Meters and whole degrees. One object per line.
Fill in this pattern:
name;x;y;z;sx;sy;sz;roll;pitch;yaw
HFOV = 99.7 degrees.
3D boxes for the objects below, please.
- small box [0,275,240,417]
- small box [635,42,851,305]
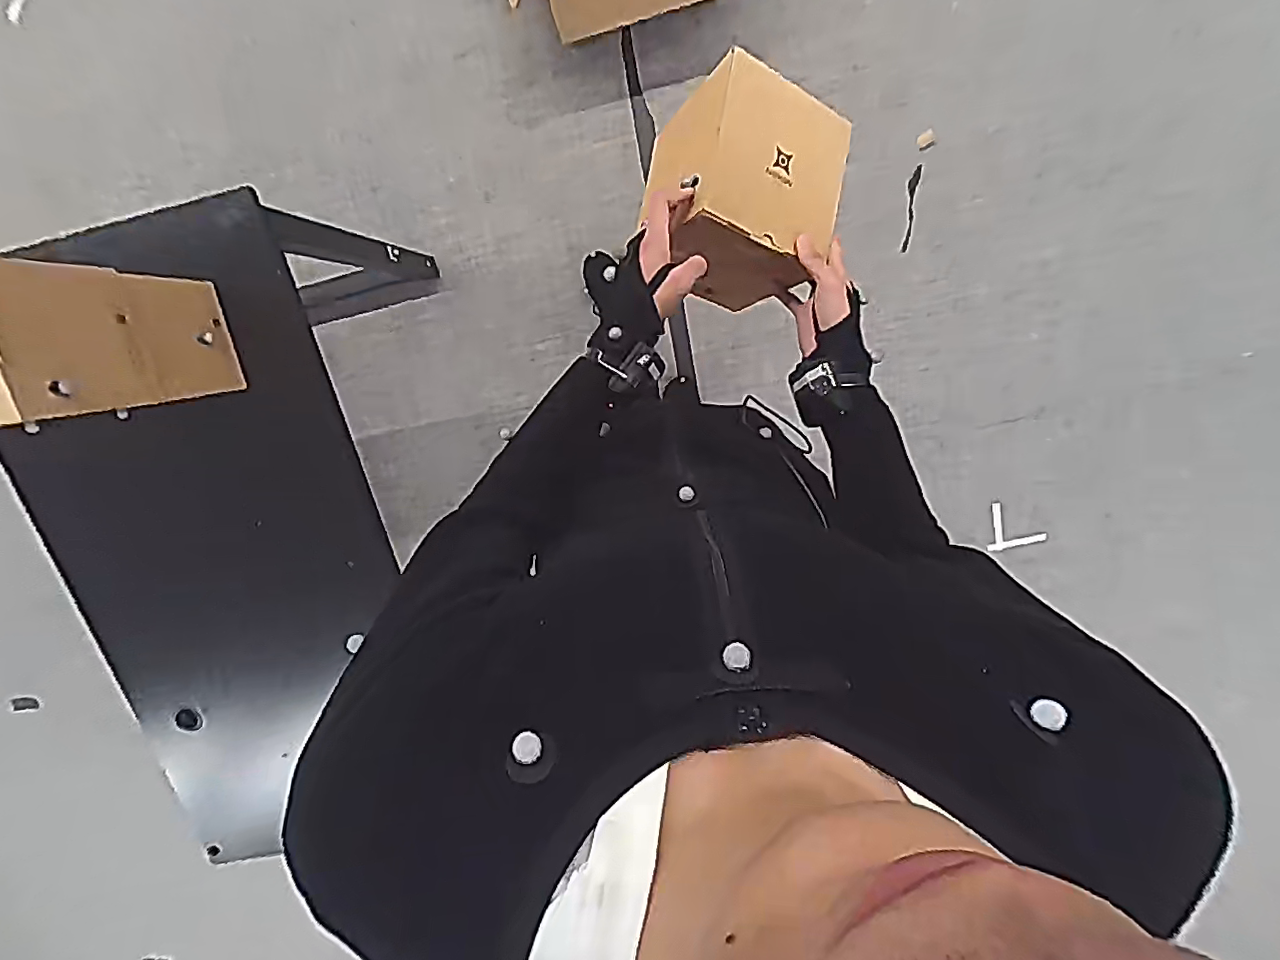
small box;-0.735;-0.192;0.776;0.179;0.176;0.168;-6;106;4
small box;0.110;-0.329;0.625;0.168;0.176;0.179;13;87;-26
